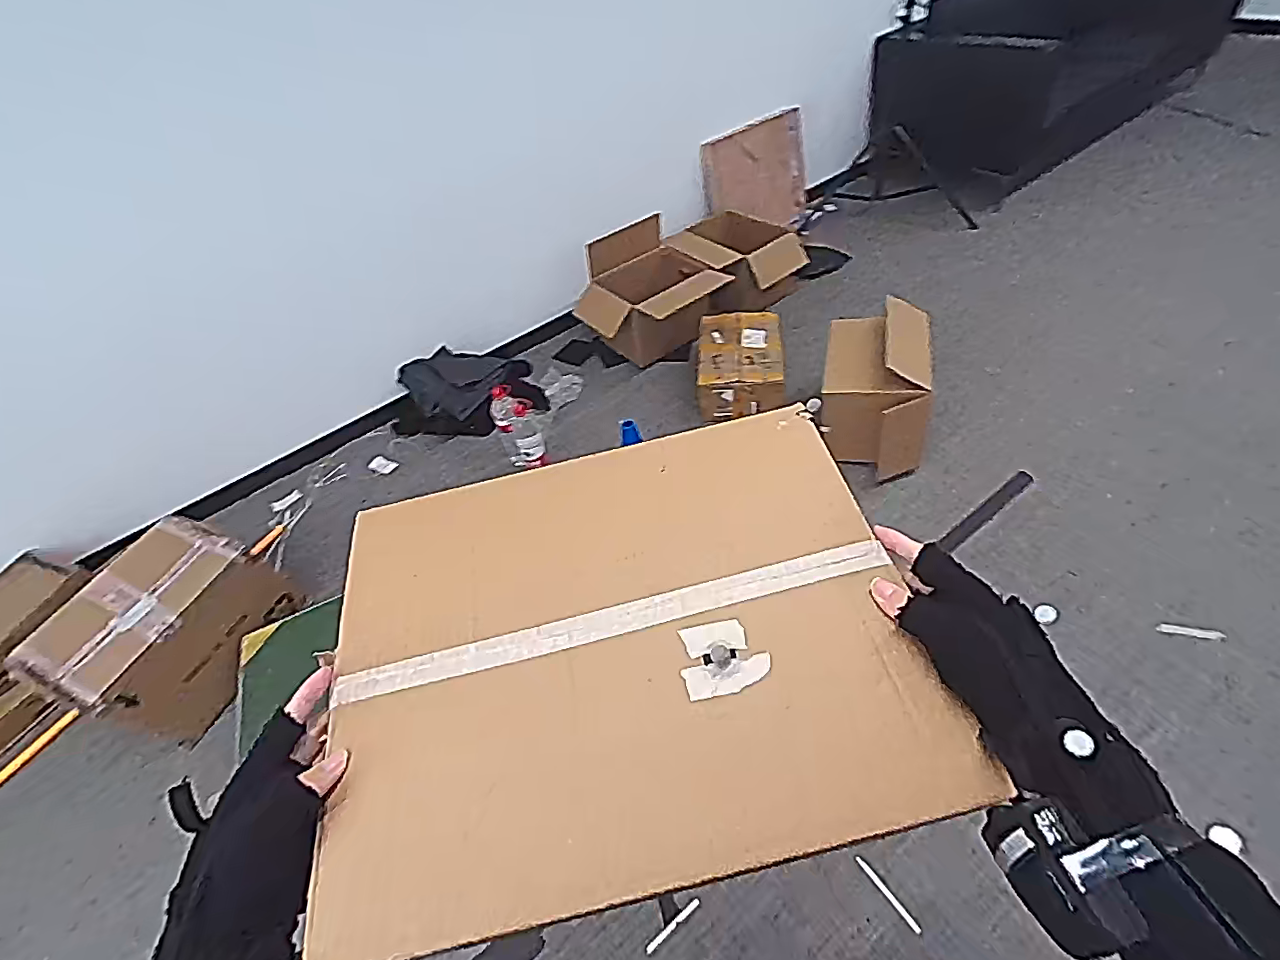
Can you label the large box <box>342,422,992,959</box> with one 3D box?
[{"bbox_3d":[0.006,0.197,0.522,0.408,0.320,0.320,-13,54,-2],"label":"large box"}]
